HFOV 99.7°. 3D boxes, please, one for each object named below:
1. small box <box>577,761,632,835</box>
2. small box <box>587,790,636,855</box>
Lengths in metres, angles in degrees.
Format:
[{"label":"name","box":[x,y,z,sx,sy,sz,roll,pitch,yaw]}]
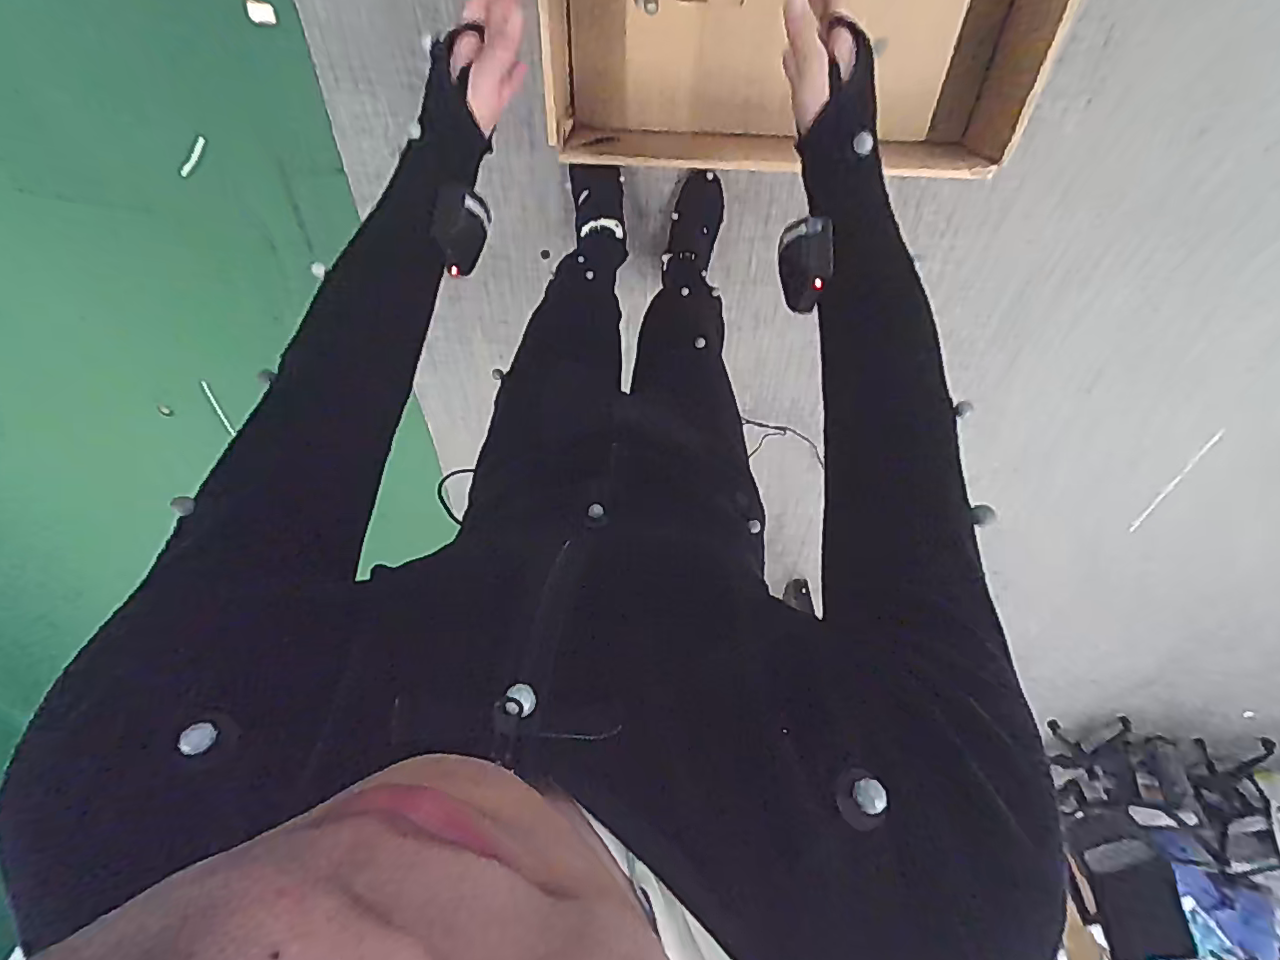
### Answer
[{"label":"small box","box":[-0.110,1.037,1.763,0.168,0.176,0.179,0,133,1]},{"label":"small box","box":[-0.098,1.229,1.944,0.168,0.176,0.179,-1,132,1]}]
